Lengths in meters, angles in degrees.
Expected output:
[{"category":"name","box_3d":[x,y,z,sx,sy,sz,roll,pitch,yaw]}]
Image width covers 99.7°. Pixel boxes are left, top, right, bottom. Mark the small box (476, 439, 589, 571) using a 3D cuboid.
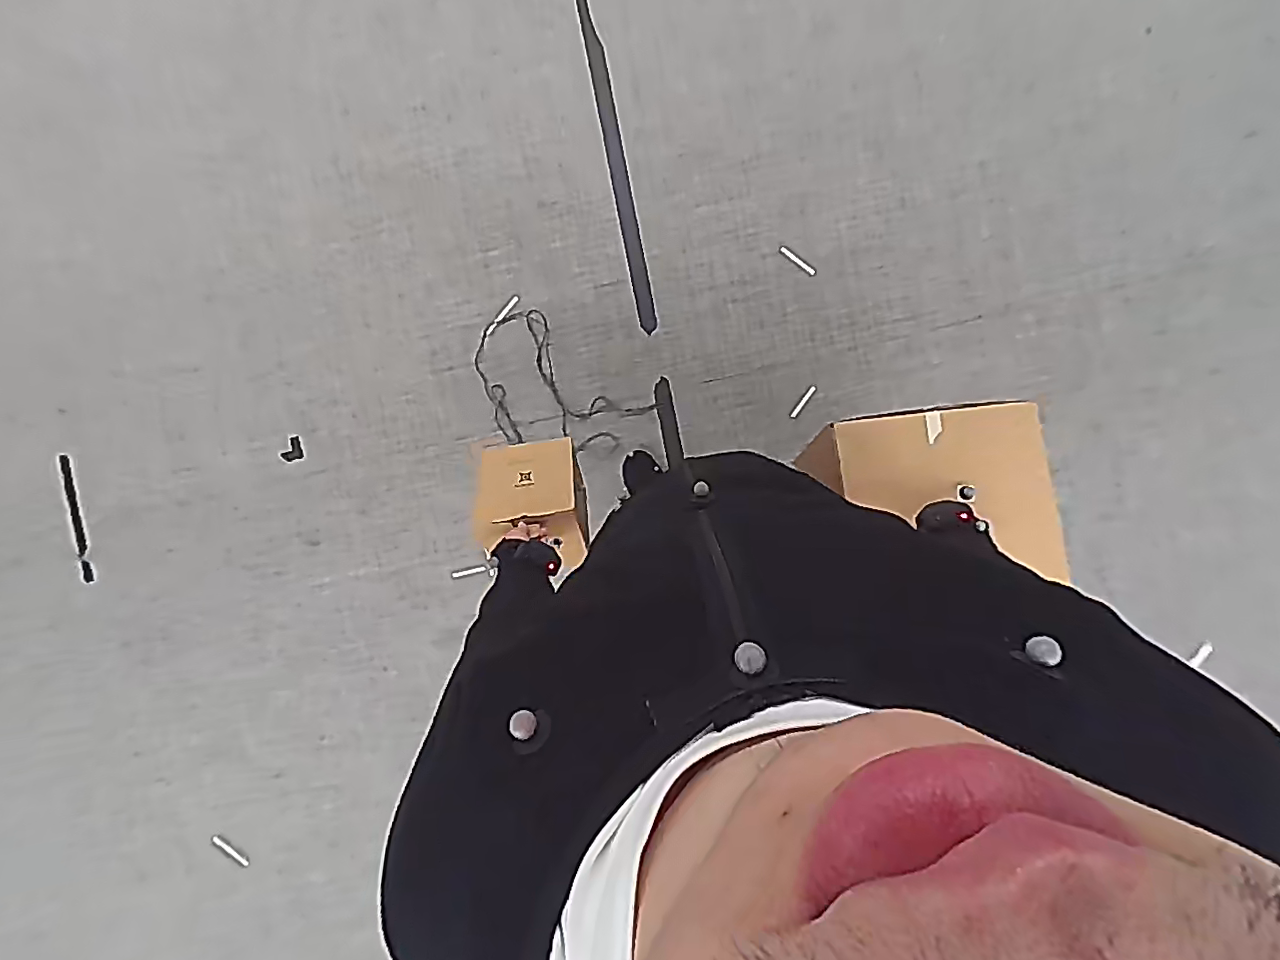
[{"category":"small box","box_3d":[-0.189,0.053,0.995,0.168,0.179,0.176,-8,137,-1]}]
